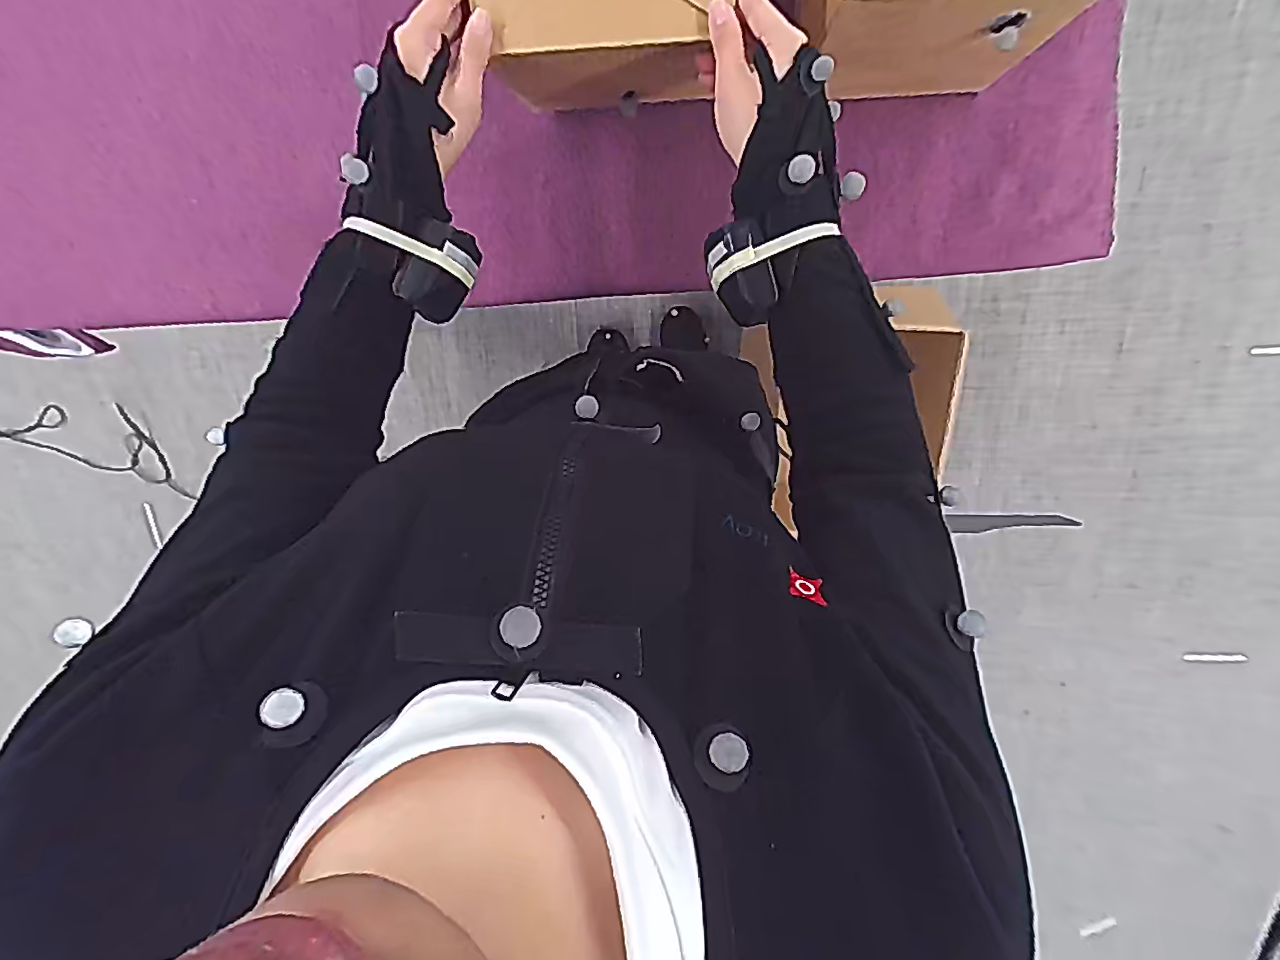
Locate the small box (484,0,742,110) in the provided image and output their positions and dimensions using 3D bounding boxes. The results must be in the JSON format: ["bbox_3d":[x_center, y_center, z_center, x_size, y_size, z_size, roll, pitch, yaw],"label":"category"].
[{"bbox_3d":[-0.019,-0.397,0.400,0.179,0.176,0.168,-1,112,5],"label":"small box"}]

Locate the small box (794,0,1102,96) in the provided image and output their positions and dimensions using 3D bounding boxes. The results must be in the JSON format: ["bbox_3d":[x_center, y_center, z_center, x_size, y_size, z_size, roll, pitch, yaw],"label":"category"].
[{"bbox_3d":[0.227,-0.417,0.407,0.179,0.176,0.168,0,105,4],"label":"small box"}]
